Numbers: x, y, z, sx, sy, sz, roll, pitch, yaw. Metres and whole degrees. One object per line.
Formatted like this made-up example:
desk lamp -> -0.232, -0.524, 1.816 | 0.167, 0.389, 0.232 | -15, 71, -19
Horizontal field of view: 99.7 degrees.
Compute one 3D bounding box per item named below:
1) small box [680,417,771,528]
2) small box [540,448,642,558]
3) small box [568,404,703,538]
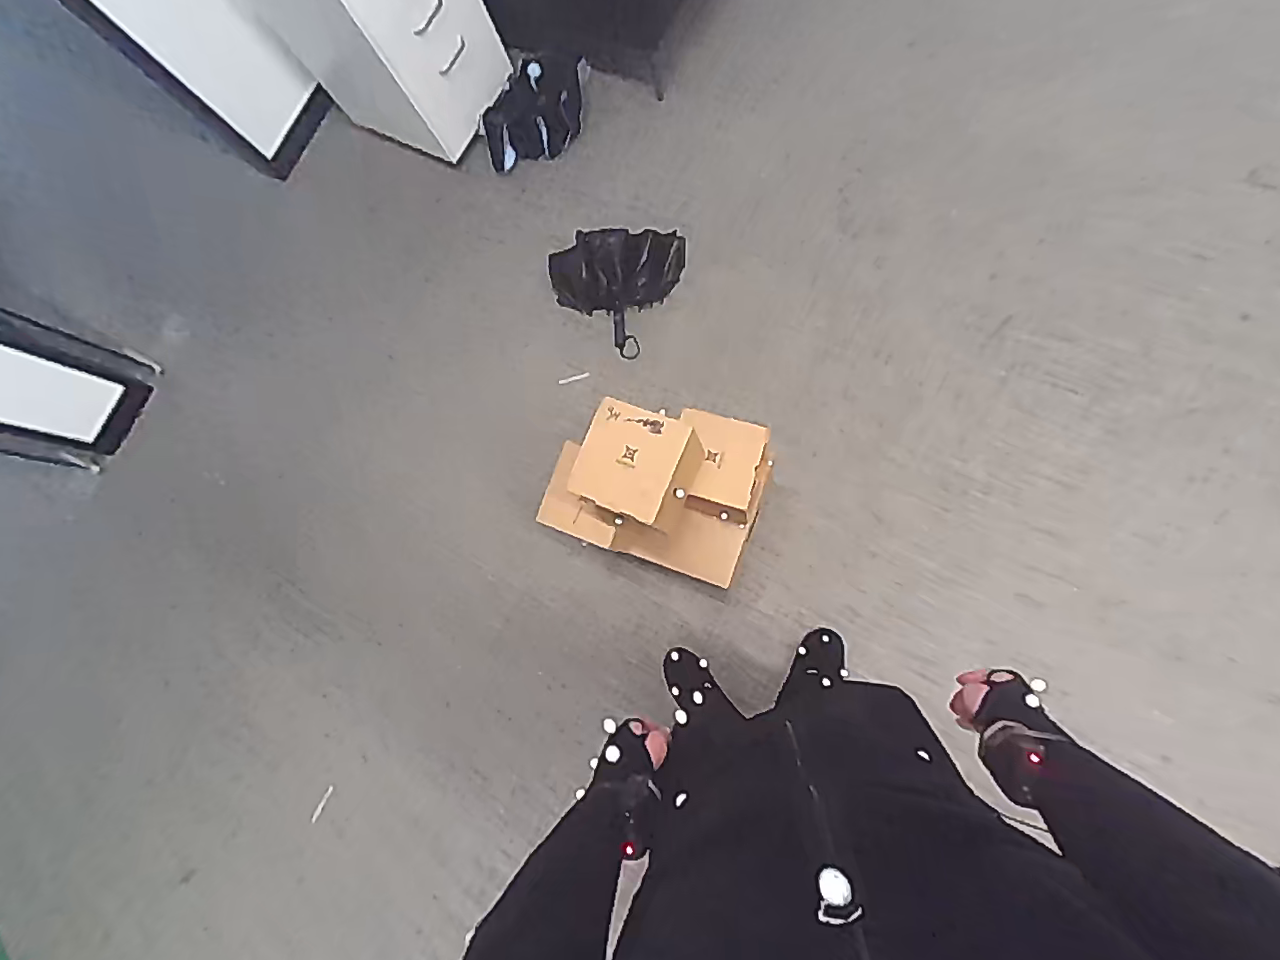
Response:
small box -> 0.160, -0.008, 1.098 | 0.179, 0.176, 0.168 | 15, 78, 17
small box -> -0.080, 0.054, 1.139 | 0.168, 0.176, 0.179 | 20, 85, 17
small box -> 0.002, -0.007, 0.959 | 0.168, 0.176, 0.179 | 21, 85, 17
